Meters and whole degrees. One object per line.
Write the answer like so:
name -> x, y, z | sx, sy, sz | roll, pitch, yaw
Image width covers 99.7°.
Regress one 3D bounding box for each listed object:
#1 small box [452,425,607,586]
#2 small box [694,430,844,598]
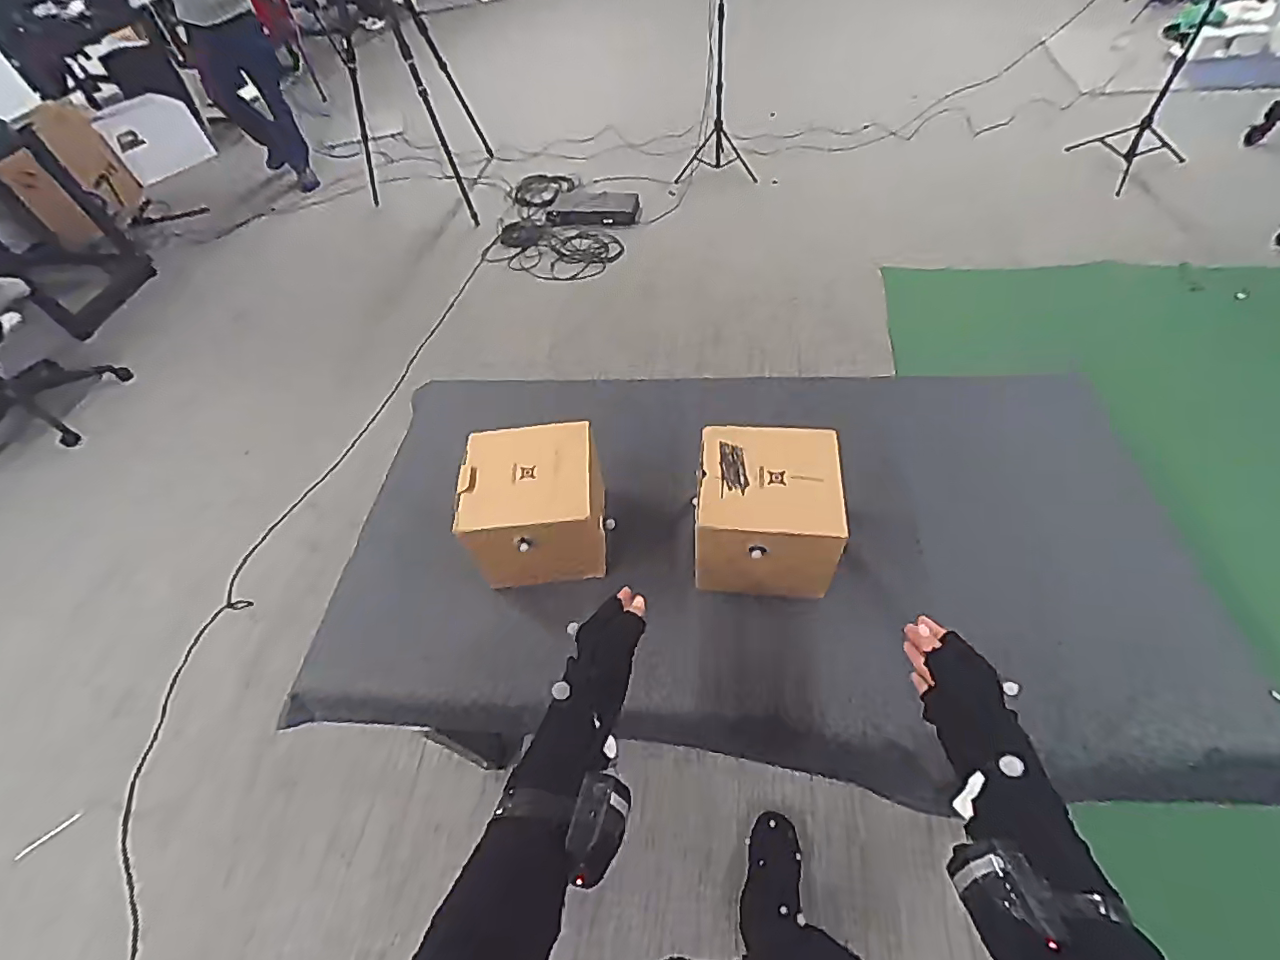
small box -> -0.146, 0.043, 0.784 | 0.179, 0.176, 0.168 | -5, 54, 2
small box -> 0.168, 0.050, 0.742 | 0.179, 0.176, 0.168 | 3, 54, 8
